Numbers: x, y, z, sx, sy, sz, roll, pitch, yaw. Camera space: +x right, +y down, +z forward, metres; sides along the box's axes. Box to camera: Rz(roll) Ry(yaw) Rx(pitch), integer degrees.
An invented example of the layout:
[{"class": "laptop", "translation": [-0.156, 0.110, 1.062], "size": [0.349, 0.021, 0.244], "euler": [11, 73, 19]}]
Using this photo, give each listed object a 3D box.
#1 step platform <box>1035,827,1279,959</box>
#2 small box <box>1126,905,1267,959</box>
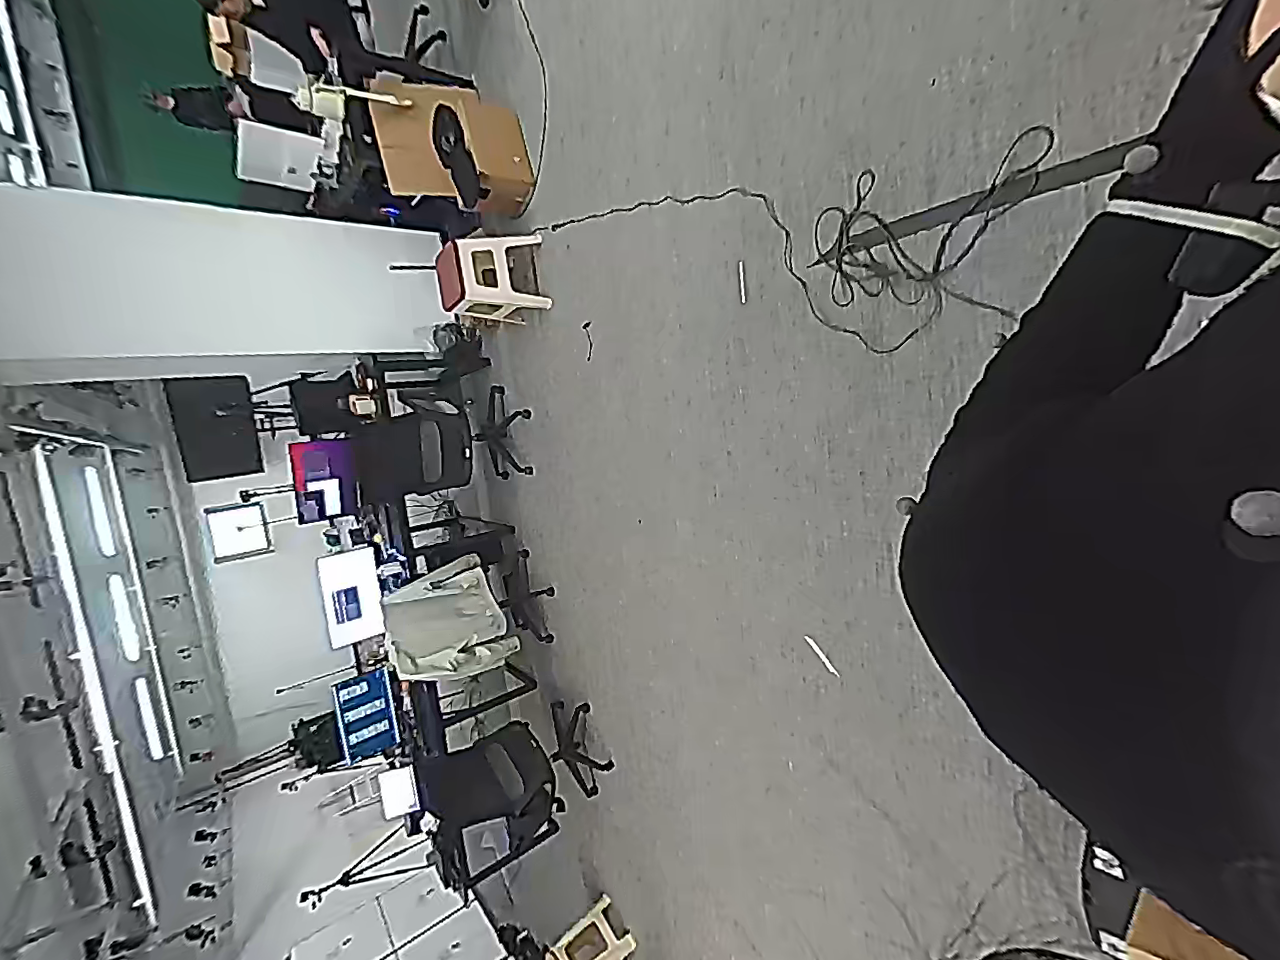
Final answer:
[{"class": "step platform", "translation": [1.073, 0.876, 0.866], "size": [0.684, 0.204, 0.286], "euler": [0, 100, 54]}, {"class": "small box", "translation": [1.026, 0.906, 0.995], "size": [0.168, 0.176, 0.179], "euler": [-2, 98, 52]}]
